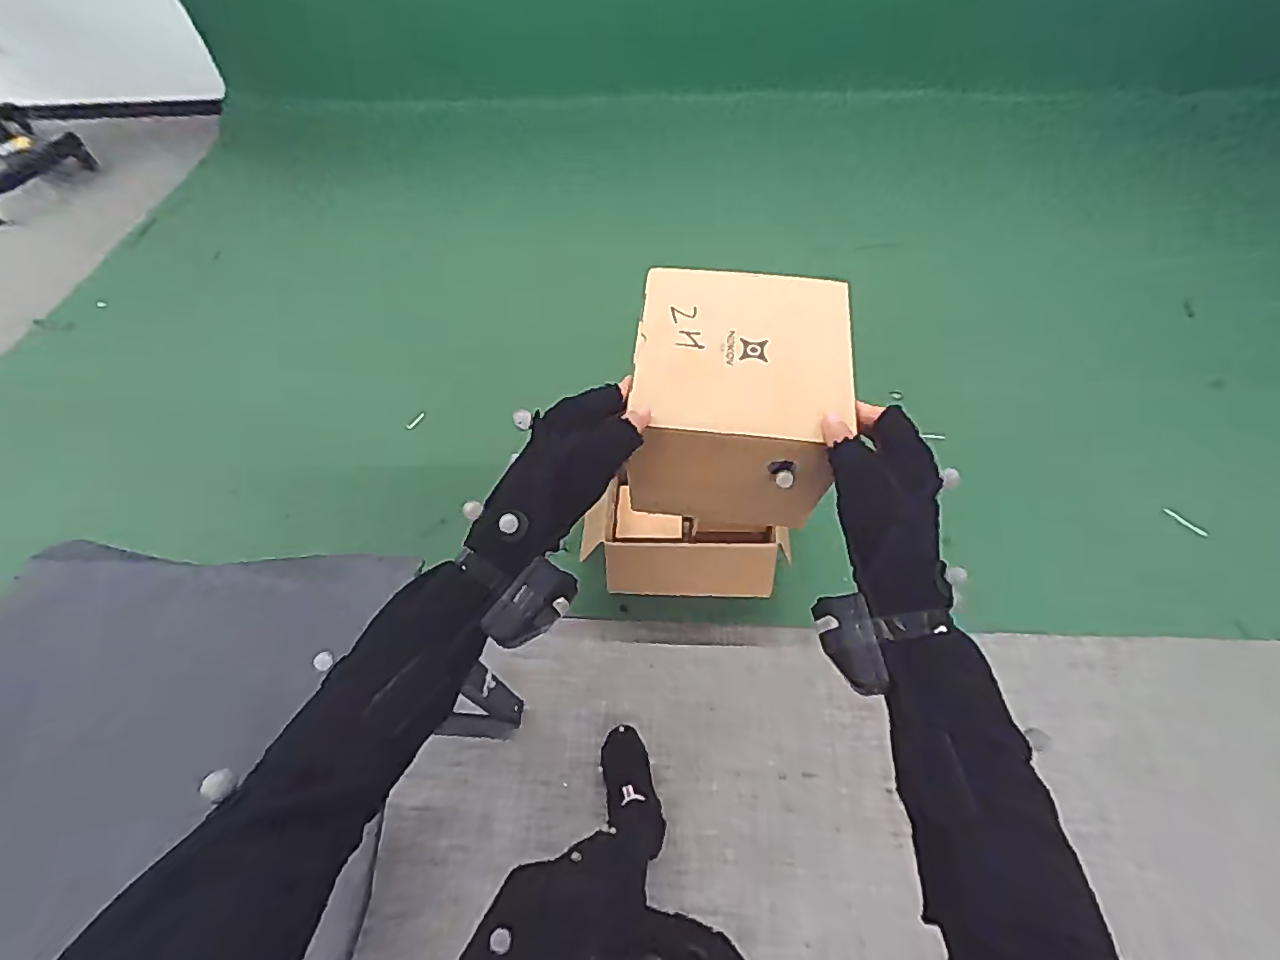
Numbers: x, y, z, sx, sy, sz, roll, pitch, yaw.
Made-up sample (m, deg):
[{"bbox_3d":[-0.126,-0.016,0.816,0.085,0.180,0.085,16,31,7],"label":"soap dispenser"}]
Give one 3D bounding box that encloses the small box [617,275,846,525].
[{"bbox_3d":[0.079,-0.066,0.514,0.179,0.176,0.168,6,63,5],"label":"small box"}]
